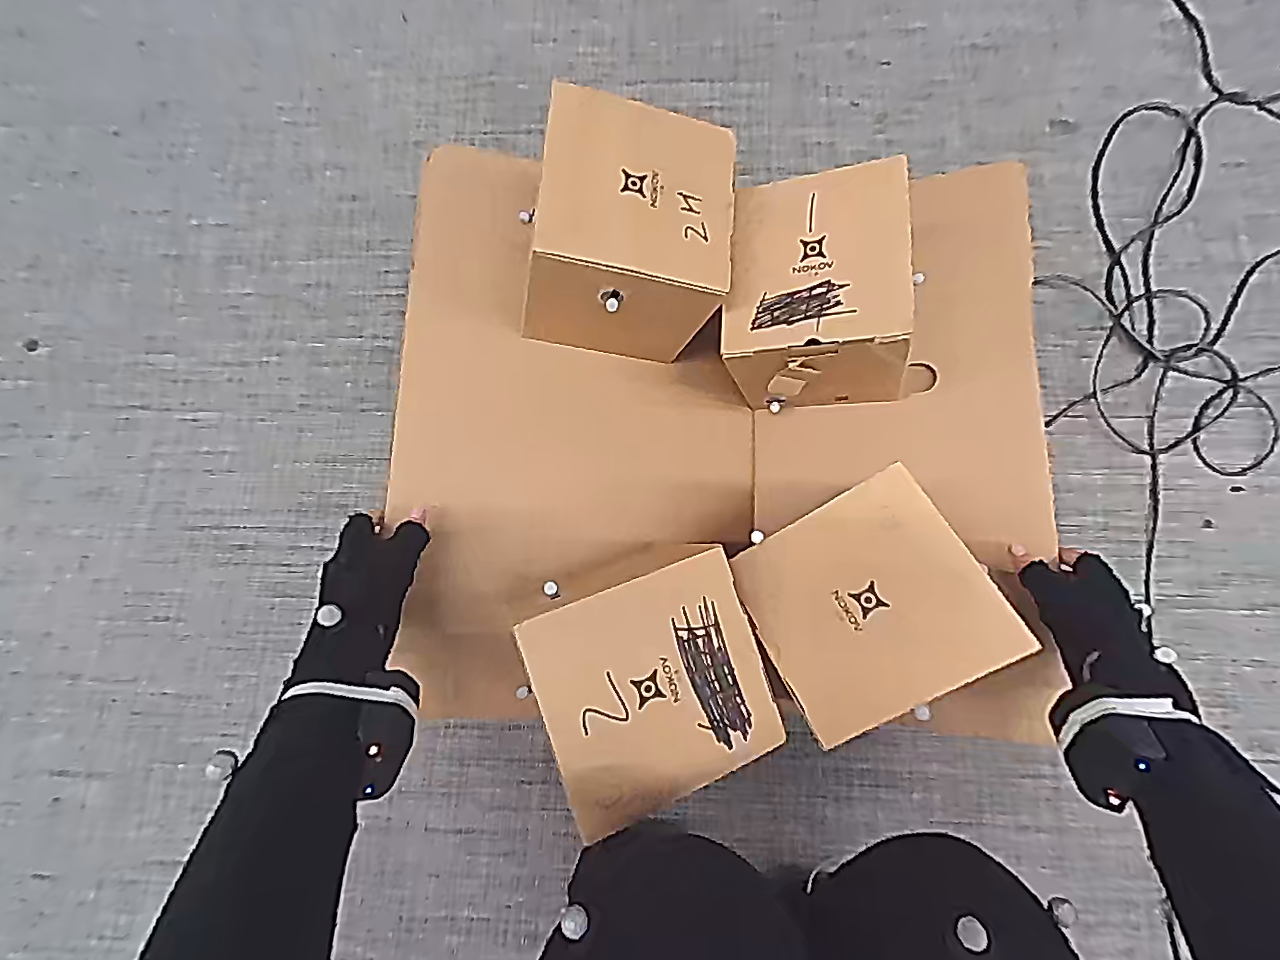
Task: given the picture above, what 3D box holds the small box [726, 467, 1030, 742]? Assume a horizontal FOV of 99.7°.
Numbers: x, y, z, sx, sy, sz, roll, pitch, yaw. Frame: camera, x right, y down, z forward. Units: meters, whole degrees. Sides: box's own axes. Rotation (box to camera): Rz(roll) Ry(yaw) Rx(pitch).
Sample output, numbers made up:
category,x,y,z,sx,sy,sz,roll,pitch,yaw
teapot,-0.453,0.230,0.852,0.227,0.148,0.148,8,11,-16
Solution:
category,x,y,z,sx,sy,sz,roll,pitch,yaw
small box,0.211,0.112,0.513,0.179,0.176,0.168,-35,68,15
